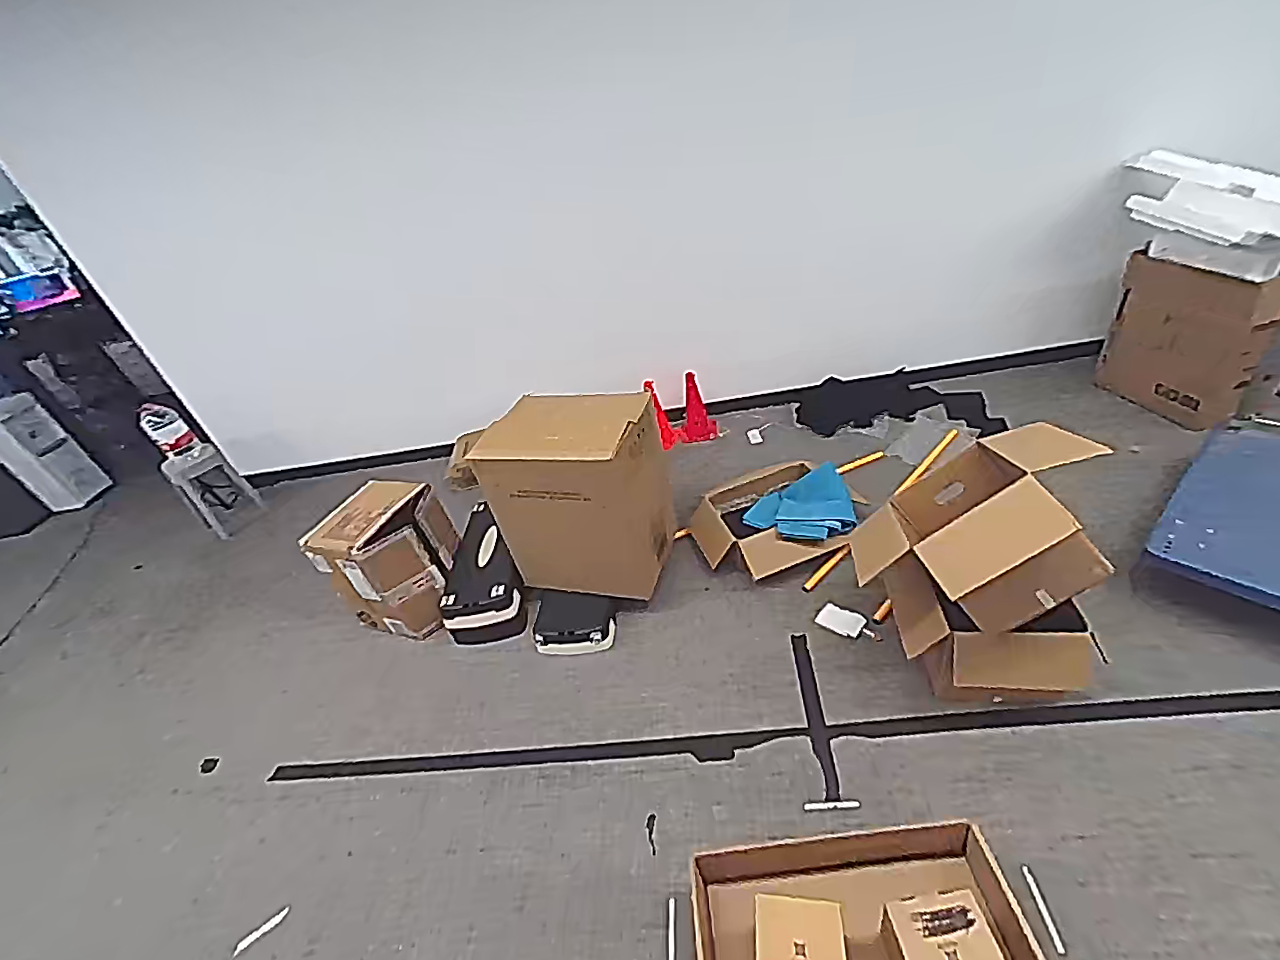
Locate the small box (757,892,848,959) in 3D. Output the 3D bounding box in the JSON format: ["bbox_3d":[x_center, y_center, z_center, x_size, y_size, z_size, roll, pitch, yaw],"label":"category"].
[{"bbox_3d":[0.315,0.946,1.054,0.168,0.176,0.179,-4,36,13],"label":"small box"}]
